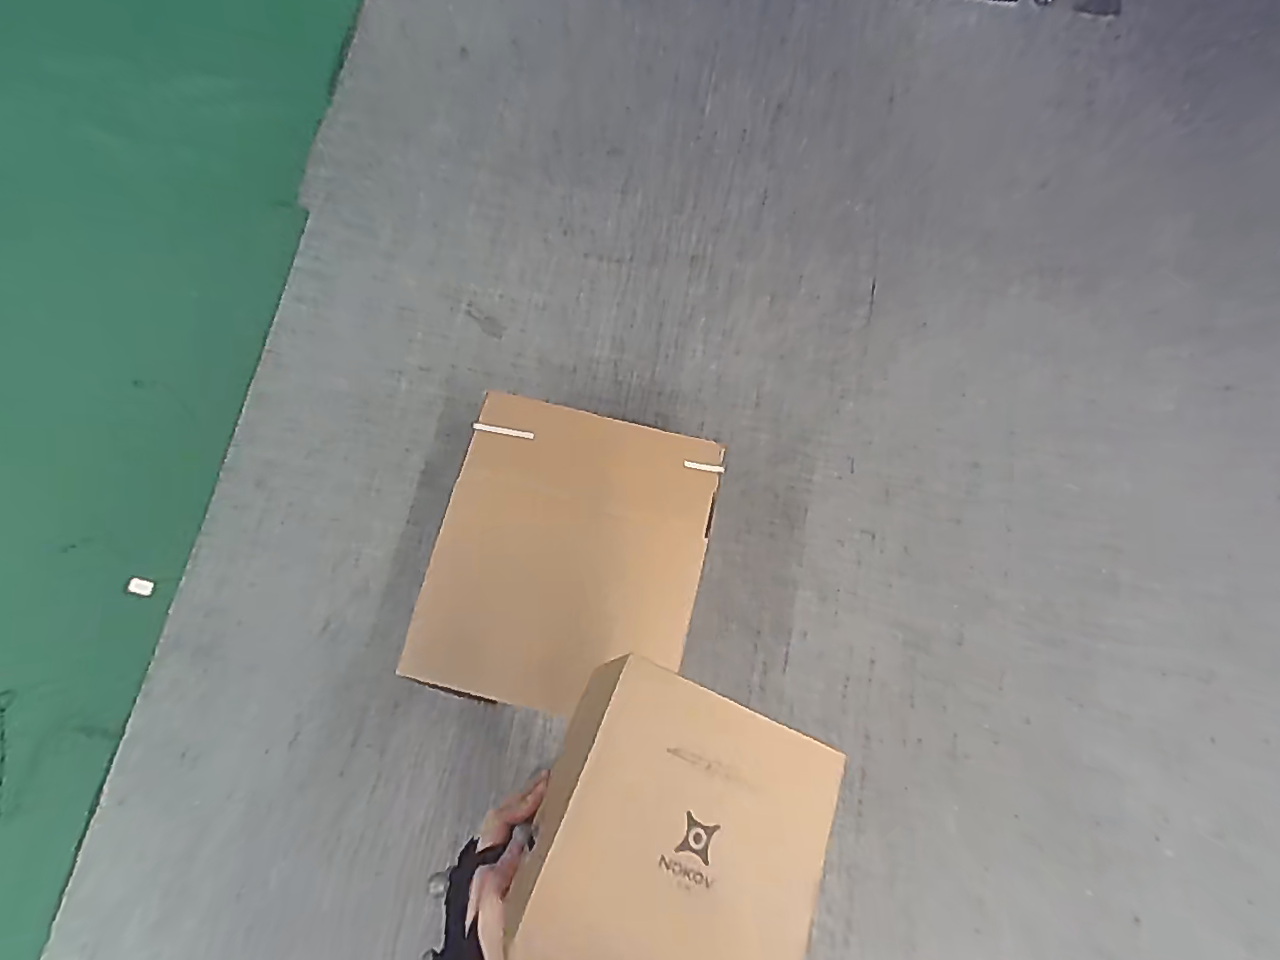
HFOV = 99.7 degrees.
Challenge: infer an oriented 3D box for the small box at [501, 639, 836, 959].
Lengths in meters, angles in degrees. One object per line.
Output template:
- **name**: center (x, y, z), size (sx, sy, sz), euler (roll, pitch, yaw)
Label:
- **small box**: center (0.013, 0.243, 0.407), size (0.168, 0.176, 0.179), euler (27, 65, -2)
